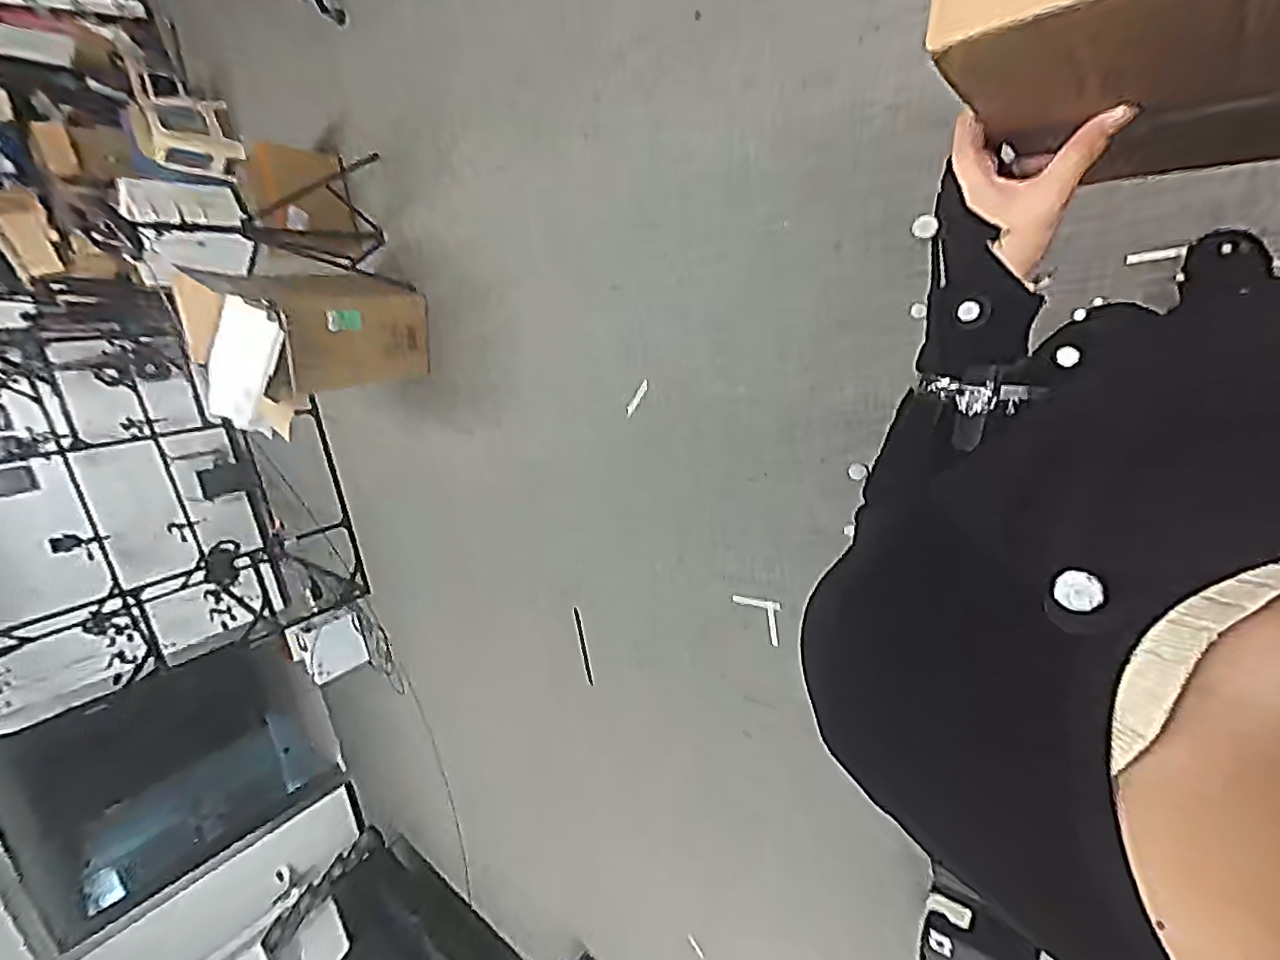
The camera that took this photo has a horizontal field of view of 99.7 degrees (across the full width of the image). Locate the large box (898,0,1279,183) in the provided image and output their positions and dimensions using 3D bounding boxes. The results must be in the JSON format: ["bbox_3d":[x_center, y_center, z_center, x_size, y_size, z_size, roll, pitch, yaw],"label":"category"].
[{"bbox_3d":[0.362,-0.333,0.178,0.408,0.320,0.320,14,112,44],"label":"large box"}]

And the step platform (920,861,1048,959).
[{"bbox_3d":[1.089,1.313,1.357,0.684,0.204,0.286,12,114,41],"label":"step platform"}]
